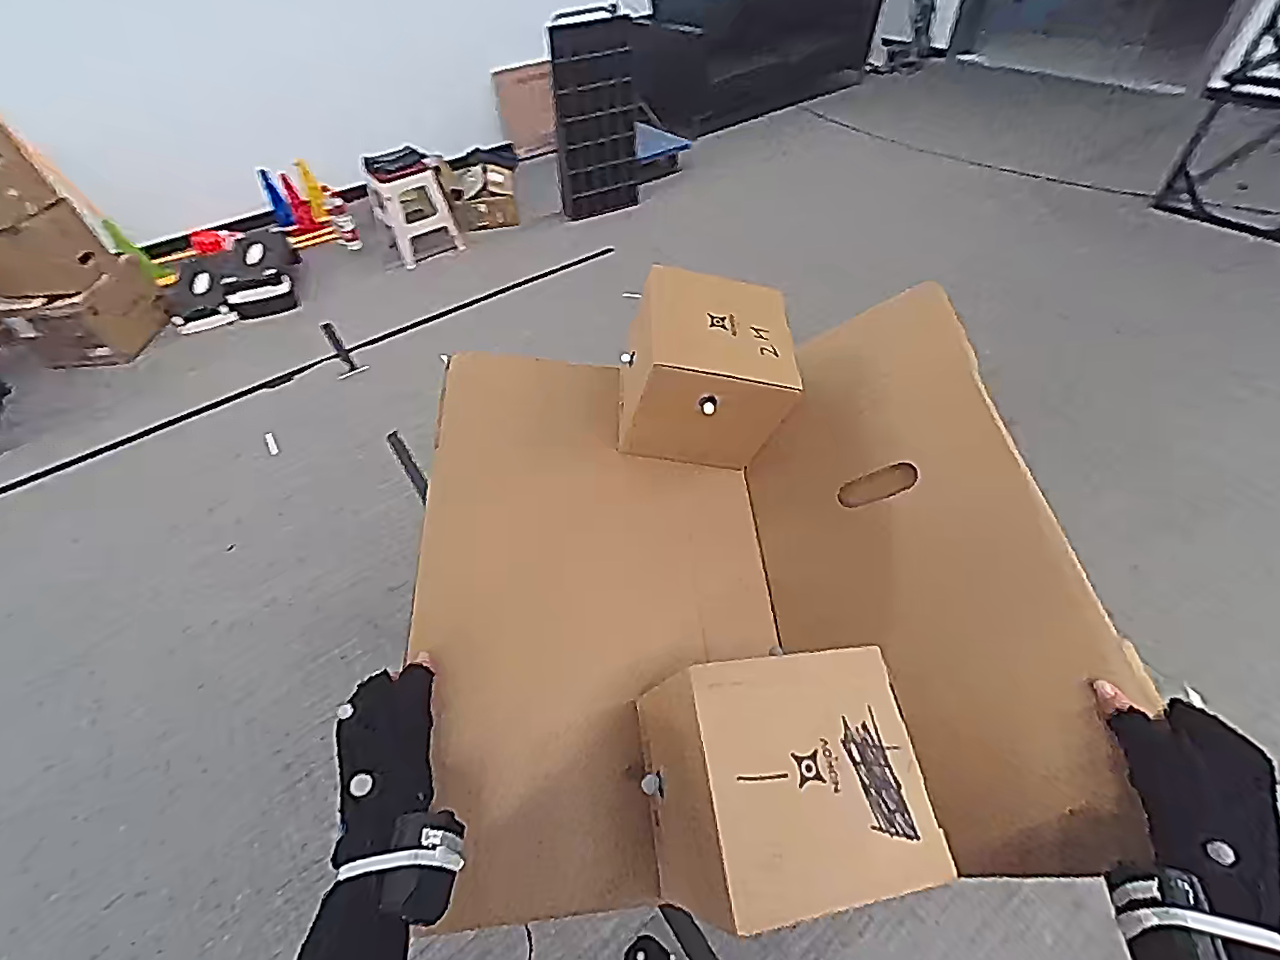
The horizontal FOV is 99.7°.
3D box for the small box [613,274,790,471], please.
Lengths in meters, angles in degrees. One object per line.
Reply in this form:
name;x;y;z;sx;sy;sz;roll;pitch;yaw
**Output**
small box;0.064;-0.128;0.690;0.179;0.176;0.168;7;57;-13
